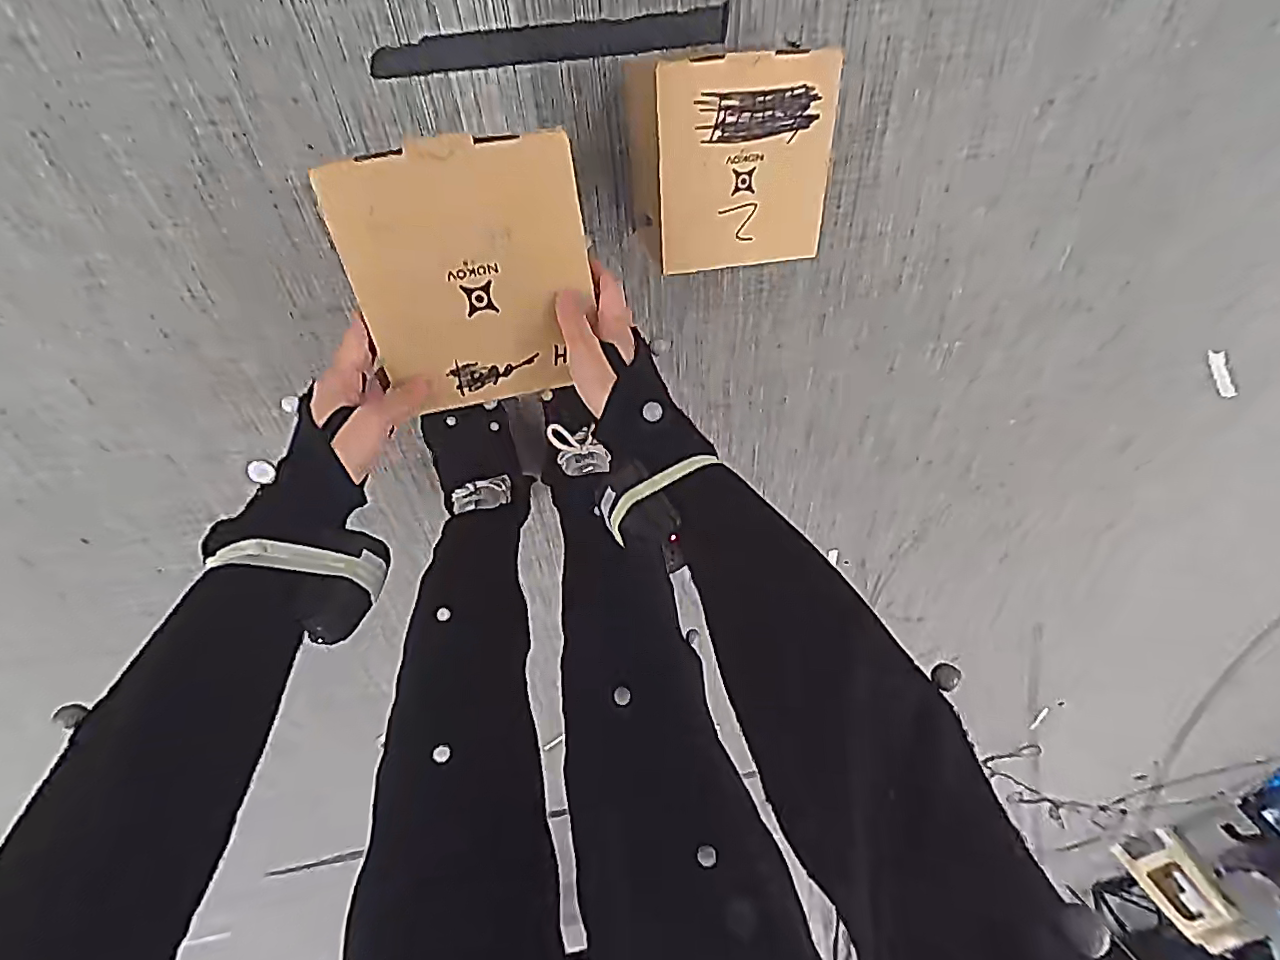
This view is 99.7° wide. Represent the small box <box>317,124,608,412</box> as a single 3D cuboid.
[{"bbox_3d":[-0.131,-0.181,0.454,0.168,0.176,0.179,-12,122,-7],"label":"small box"}]
